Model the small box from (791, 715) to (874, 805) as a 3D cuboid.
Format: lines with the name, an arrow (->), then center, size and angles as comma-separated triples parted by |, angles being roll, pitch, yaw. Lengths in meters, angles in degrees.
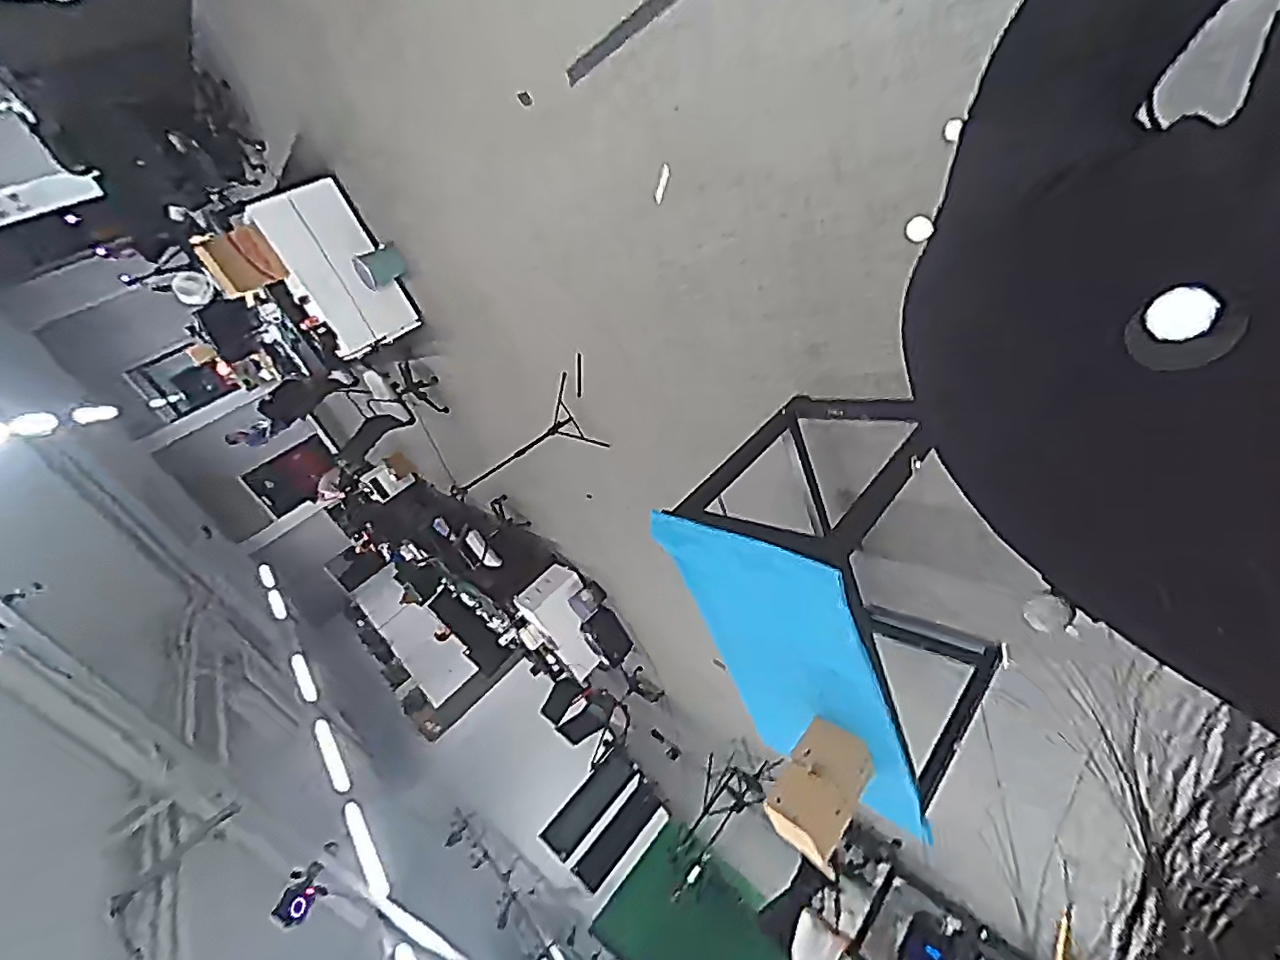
small box -> 0.620, 0.889, 1.735 | 0.179, 0.176, 0.168 | 11, 136, 48

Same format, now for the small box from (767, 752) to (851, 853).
small box -> 0.513, 0.985, 1.649 | 0.168, 0.176, 0.179 | 12, 135, 50
